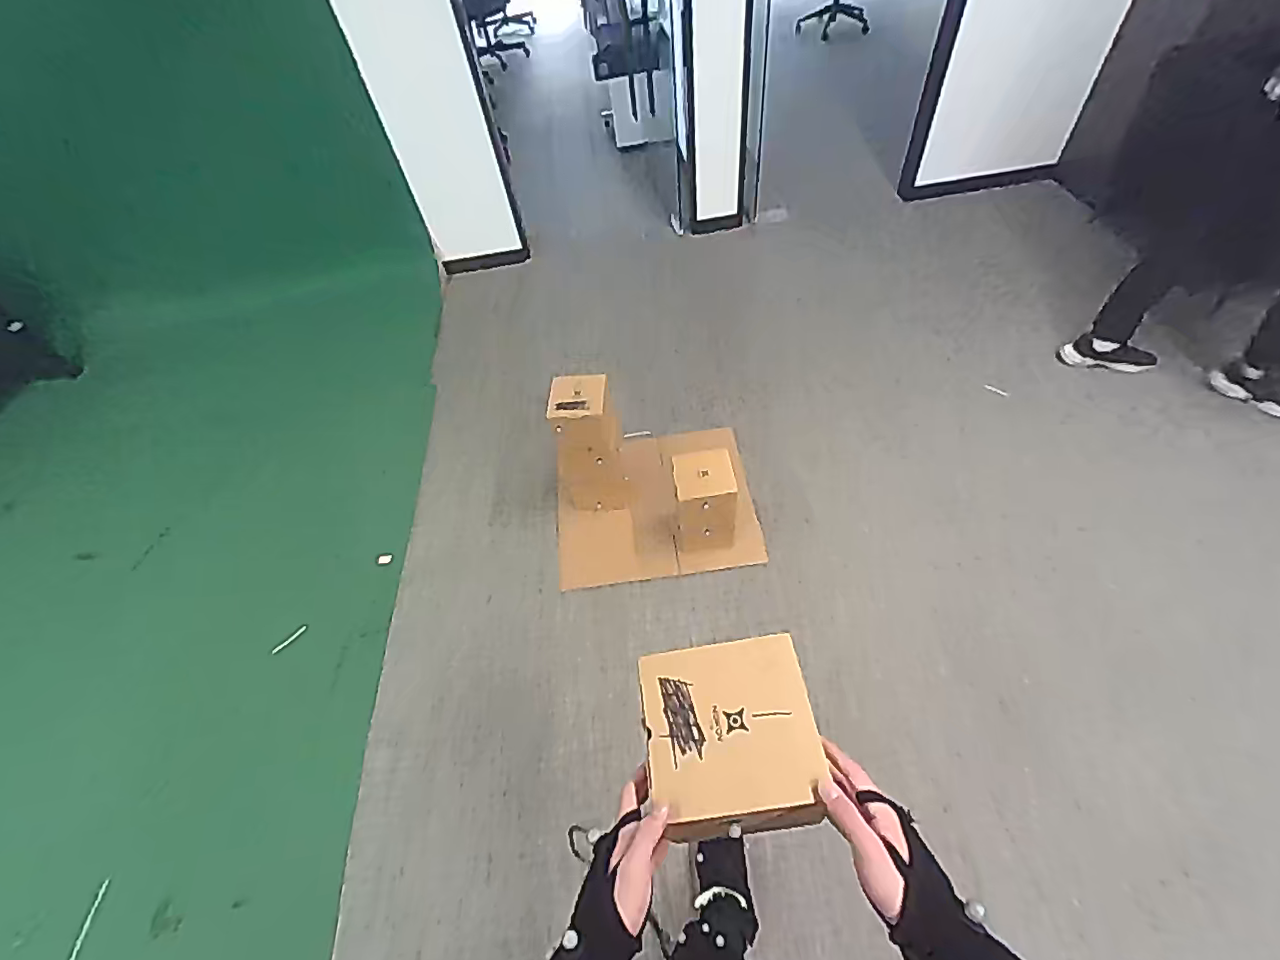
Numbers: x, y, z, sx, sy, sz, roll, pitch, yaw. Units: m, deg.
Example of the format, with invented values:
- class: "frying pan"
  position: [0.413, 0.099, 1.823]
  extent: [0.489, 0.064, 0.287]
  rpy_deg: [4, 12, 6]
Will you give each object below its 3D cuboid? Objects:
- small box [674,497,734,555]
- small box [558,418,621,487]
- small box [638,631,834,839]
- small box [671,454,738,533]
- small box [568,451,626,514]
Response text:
- class: "small box"
  position: [0.211, 0.136, 1.786]
  extent: [0.179, 0.176, 0.168]
  rpy_deg: [-7, 52, 2]
- class: "small box"
  position: [-0.159, -0.088, 1.792]
  extent: [0.179, 0.176, 0.168]
  rpy_deg: [-2, 52, 6]
- class: "small box"
  position: [0.102, 0.295, 0.616]
  extent: [0.179, 0.176, 0.168]
  rpy_deg: [-10, 50, 3]
- class: "small box"
  position: [0.196, 0.044, 1.655]
  extent: [0.179, 0.176, 0.168]
  rpy_deg: [-9, 53, 2]
- class: "small box"
  position: [-0.146, 0.008, 1.927]
  extent: [0.179, 0.176, 0.168]
  rpy_deg: [-1, 52, 6]
